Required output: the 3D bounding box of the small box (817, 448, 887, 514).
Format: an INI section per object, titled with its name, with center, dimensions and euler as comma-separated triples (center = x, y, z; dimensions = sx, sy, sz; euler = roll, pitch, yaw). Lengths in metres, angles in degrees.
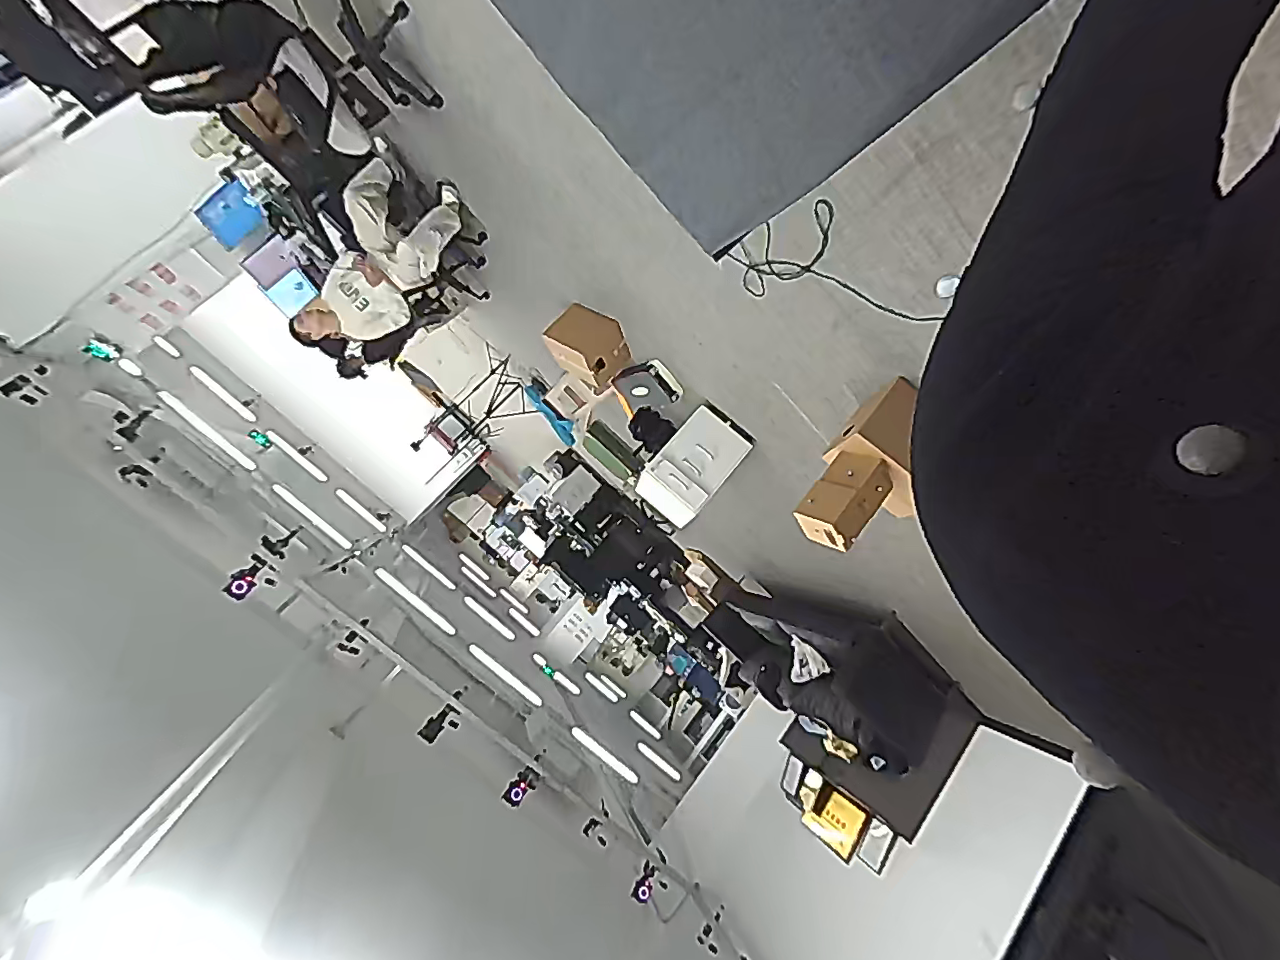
[small box]
center = 0.810, -0.003, 2.043
dimensions = 0.179, 0.176, 0.168
euler = 19, 153, 51
